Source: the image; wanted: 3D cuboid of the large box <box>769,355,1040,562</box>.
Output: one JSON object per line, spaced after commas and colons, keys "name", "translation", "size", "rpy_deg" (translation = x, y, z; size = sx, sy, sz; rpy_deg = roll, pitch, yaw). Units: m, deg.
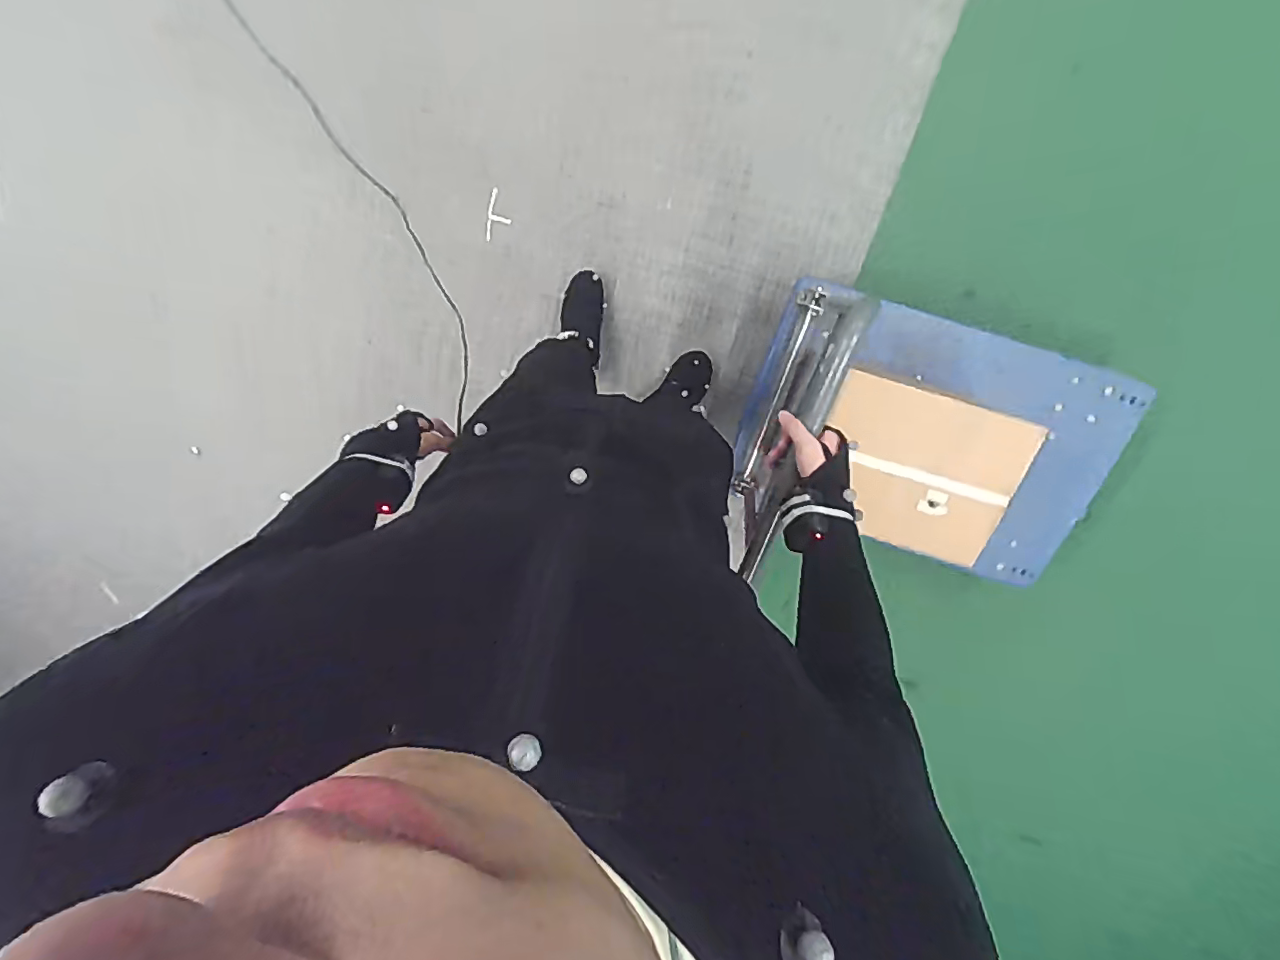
{"name": "large box", "translation": [0.549, -0.067, 1.222], "size": [0.408, 0.320, 0.320], "rpy_deg": [18, 111, 0]}
